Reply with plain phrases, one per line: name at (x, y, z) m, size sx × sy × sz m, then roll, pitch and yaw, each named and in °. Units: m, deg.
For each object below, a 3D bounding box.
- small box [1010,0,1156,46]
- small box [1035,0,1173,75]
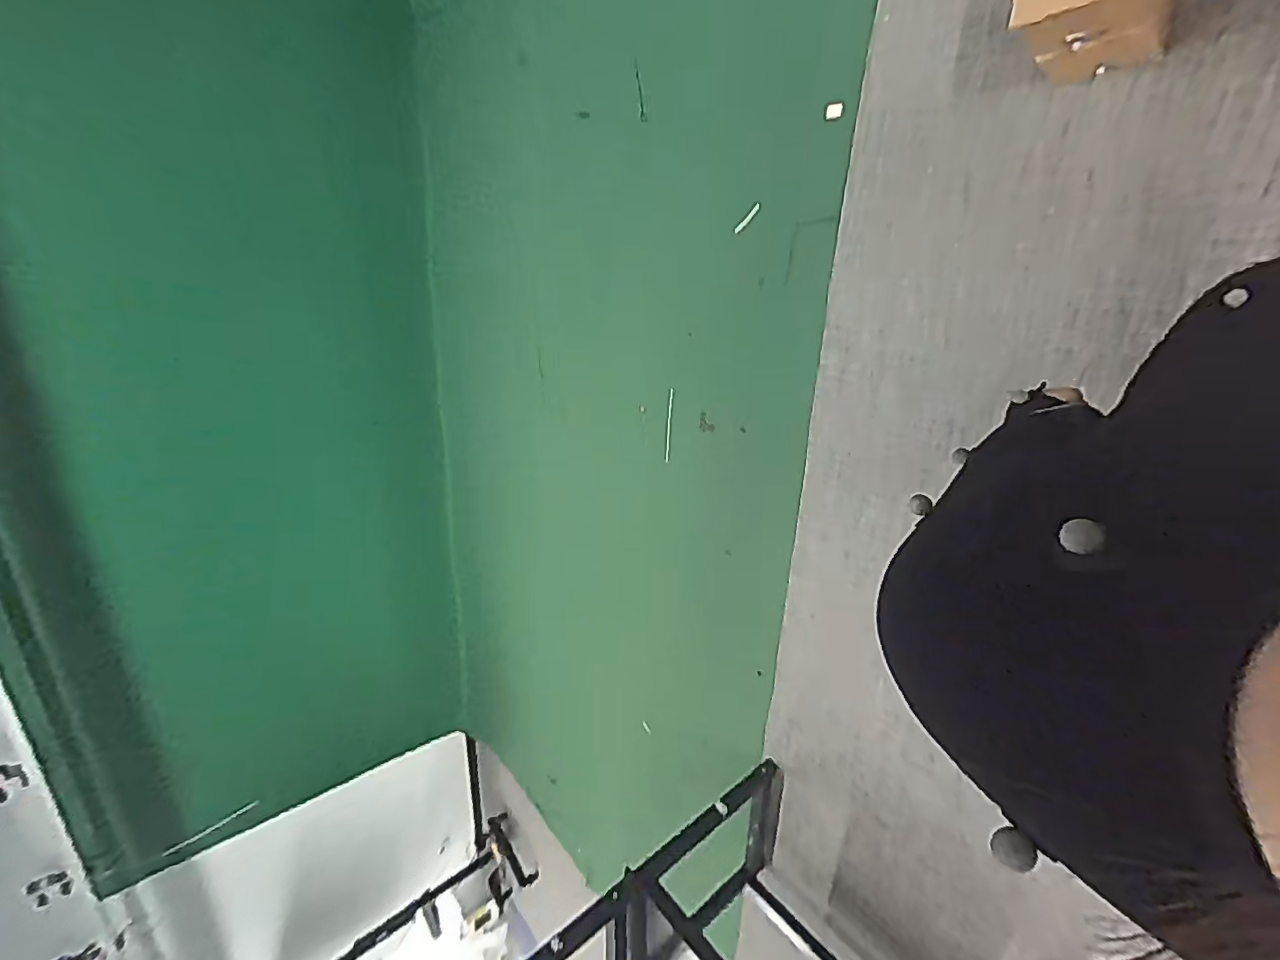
small box at (0.741, -0.863, 0.884) m, size 0.168 × 0.176 × 0.179 m, roll 19°, pitch 115°, yaw 48°
small box at (0.860, -0.890, 0.992) m, size 0.168 × 0.176 × 0.179 m, roll 17°, pitch 114°, yaw 47°
